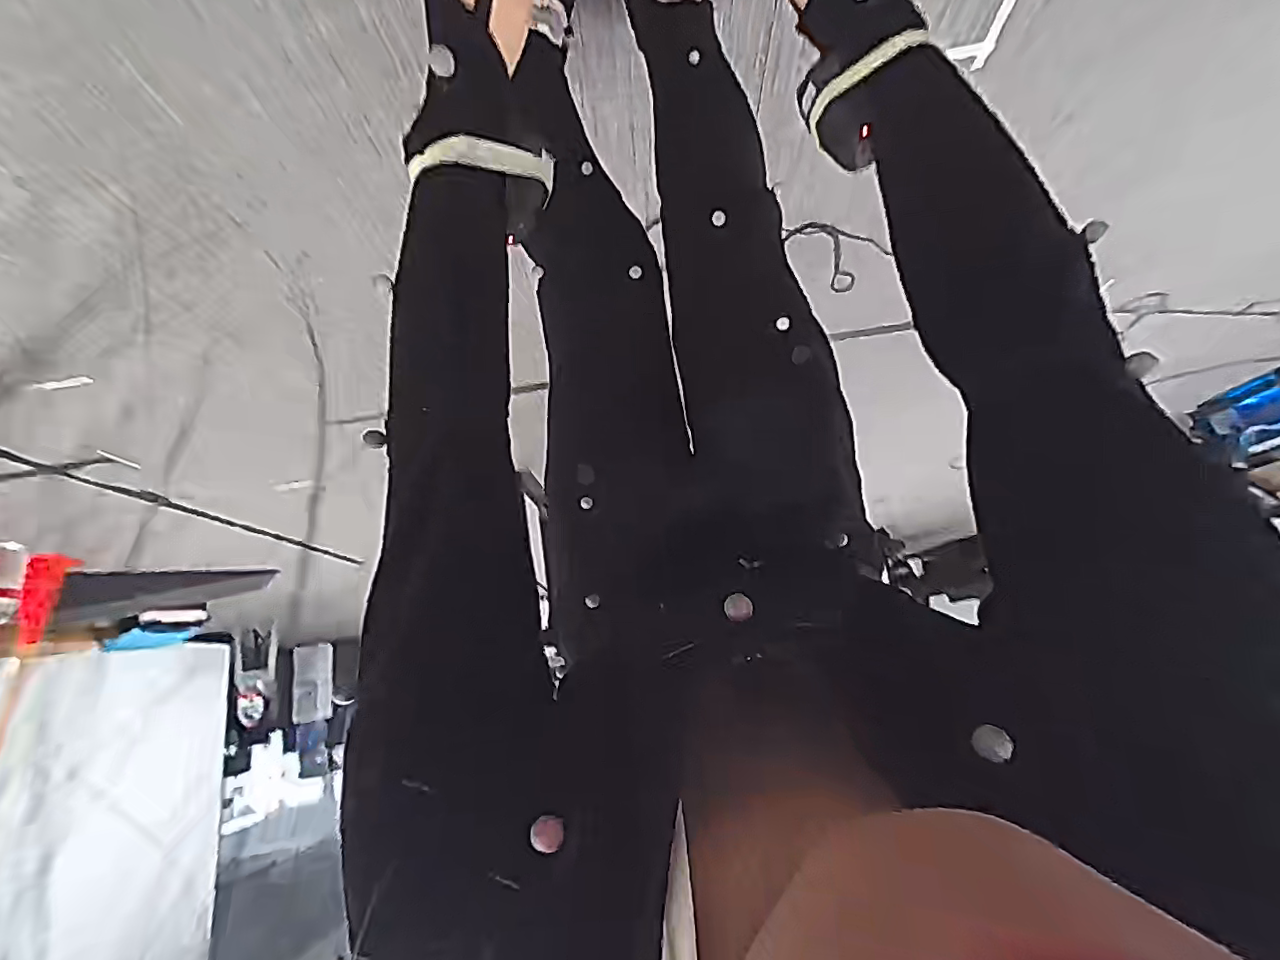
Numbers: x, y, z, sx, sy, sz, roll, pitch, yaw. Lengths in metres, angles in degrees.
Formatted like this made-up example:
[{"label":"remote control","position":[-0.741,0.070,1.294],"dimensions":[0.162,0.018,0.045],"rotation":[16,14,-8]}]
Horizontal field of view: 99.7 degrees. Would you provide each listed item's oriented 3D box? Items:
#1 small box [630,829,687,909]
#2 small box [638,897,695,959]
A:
[{"label":"small box","position":[0.061,1.384,1.934],"dimensions":[0.168,0.176,0.179],"rotation":[-9,163,-6]},{"label":"small box","position":[0.091,1.526,1.854],"dimensions":[0.168,0.176,0.179],"rotation":[-10,163,1]}]
